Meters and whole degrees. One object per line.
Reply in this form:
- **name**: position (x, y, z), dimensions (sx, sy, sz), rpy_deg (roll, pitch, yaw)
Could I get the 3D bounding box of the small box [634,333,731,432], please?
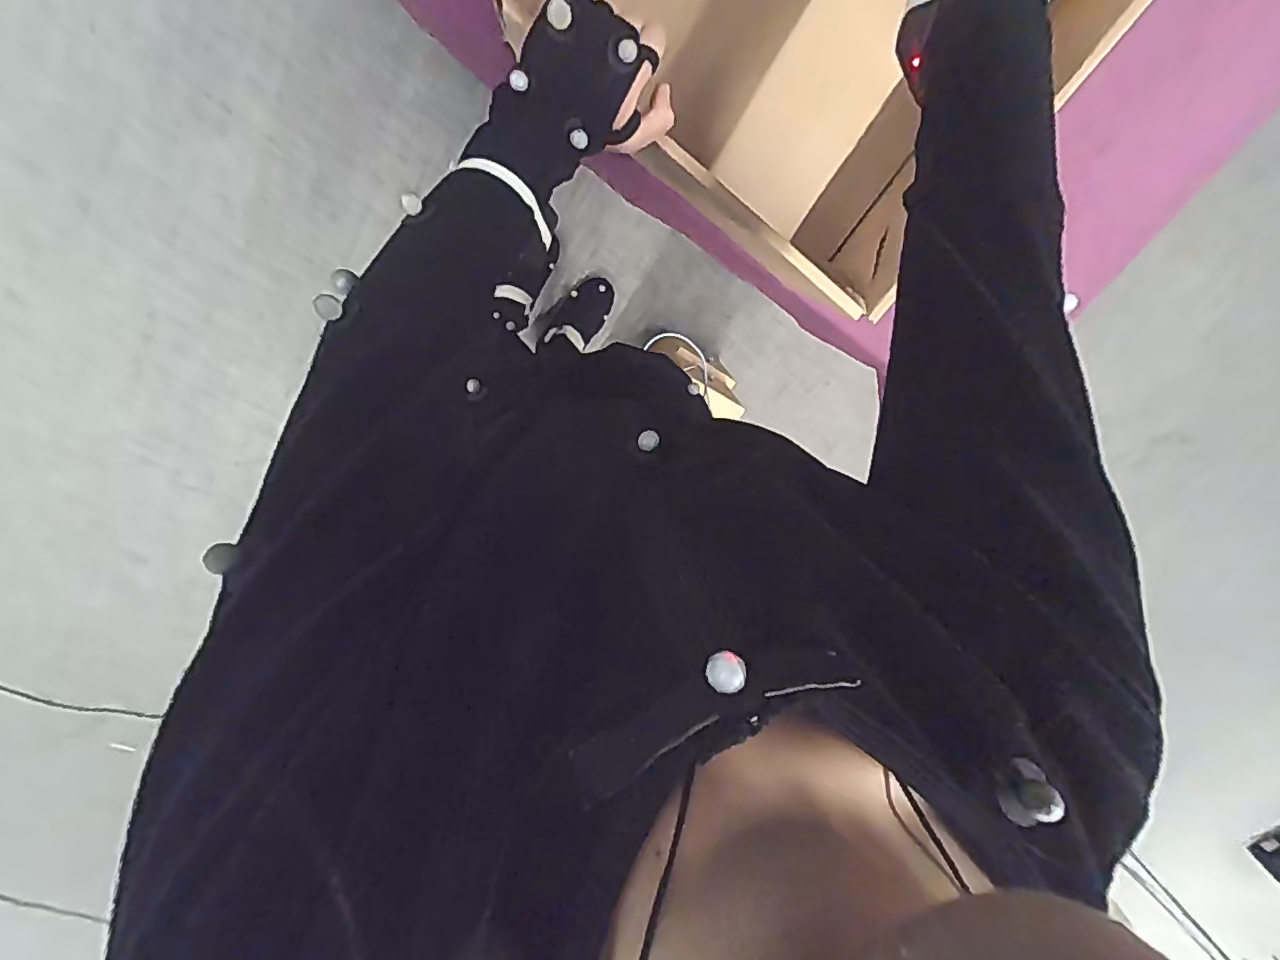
- **small box**: position (0.102, -0.258, 1.398), dimensions (0.179, 0.176, 0.168), rpy_deg (27, 112, -21)
